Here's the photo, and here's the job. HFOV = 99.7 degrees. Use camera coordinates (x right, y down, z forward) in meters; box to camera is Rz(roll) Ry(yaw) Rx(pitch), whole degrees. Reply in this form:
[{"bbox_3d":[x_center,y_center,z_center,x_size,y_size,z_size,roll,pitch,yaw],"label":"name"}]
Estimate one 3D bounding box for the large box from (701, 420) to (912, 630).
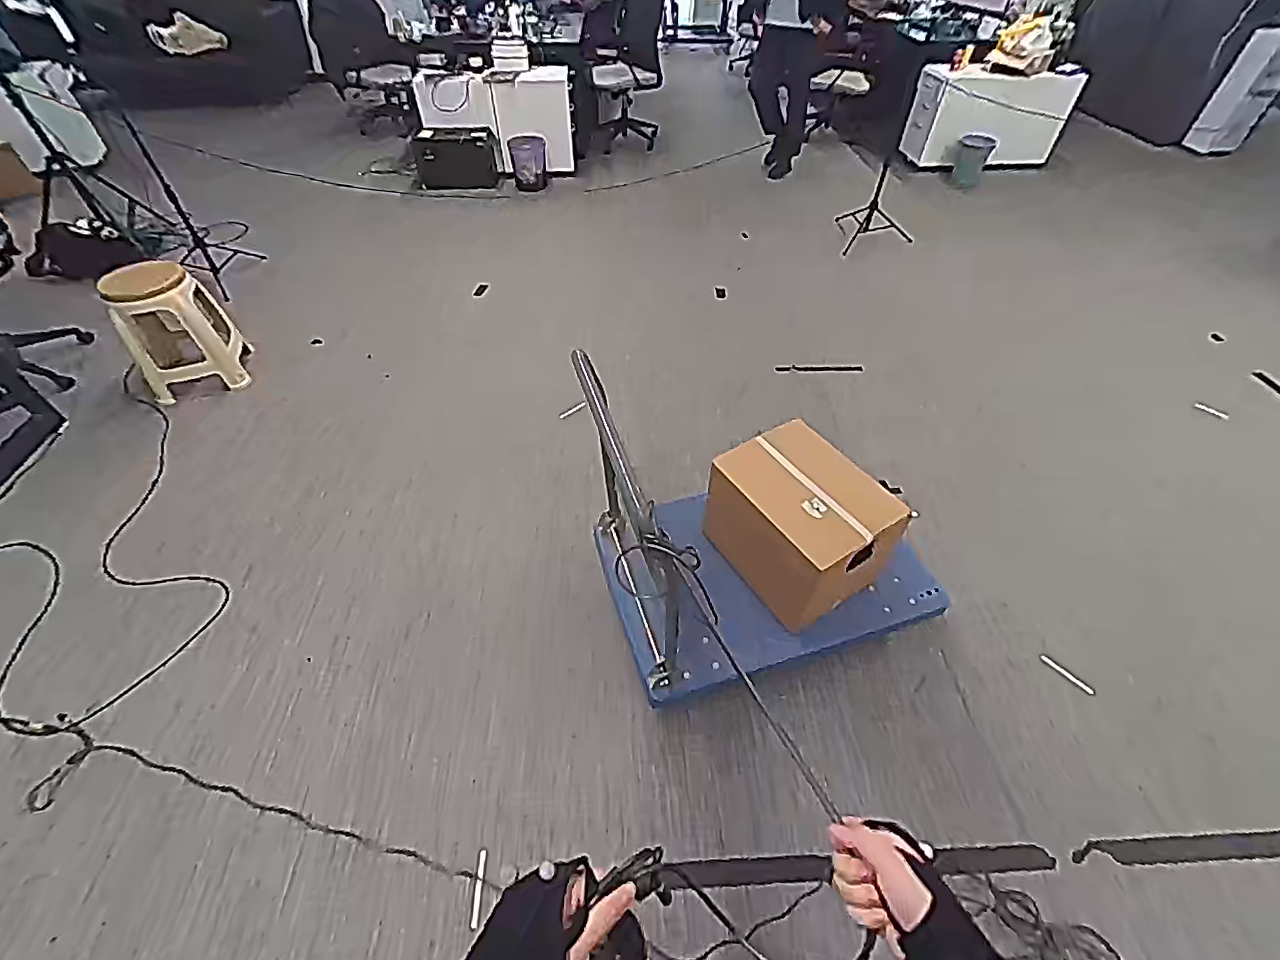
[{"bbox_3d":[0.415,0.113,1.454,0.320,0.320,0.408,-26,54,-21],"label":"large box"}]
